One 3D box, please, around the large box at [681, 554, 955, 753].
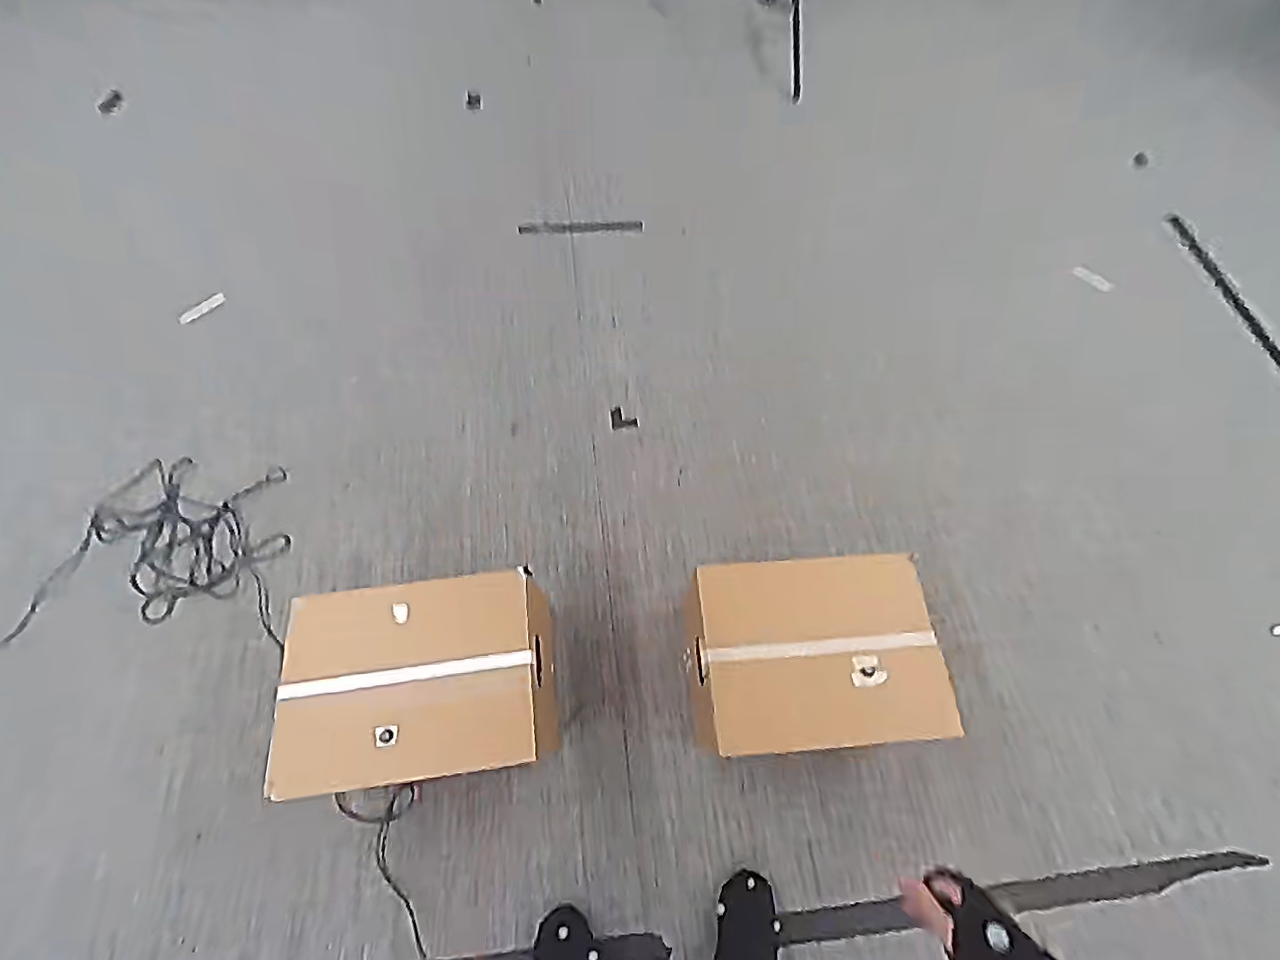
[{"bbox_3d":[0.309,0.353,1.078,0.408,0.320,0.320,-3,65,-4],"label":"large box"}]
